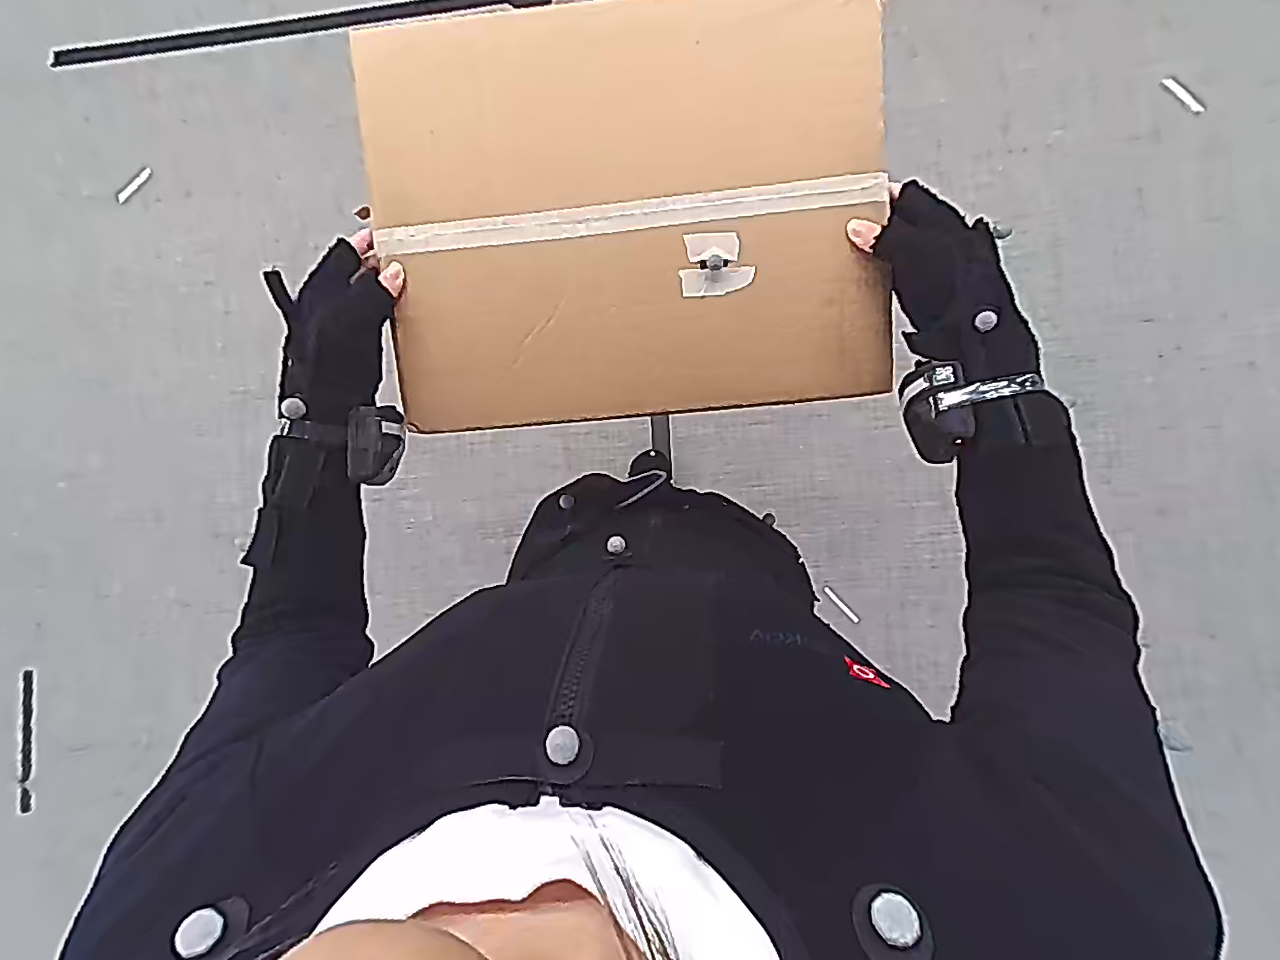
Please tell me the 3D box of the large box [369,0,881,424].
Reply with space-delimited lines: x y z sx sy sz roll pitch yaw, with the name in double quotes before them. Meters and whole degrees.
"large box" -0.005 -0.239 0.591 0.408 0.320 0.320 -5 99 3
